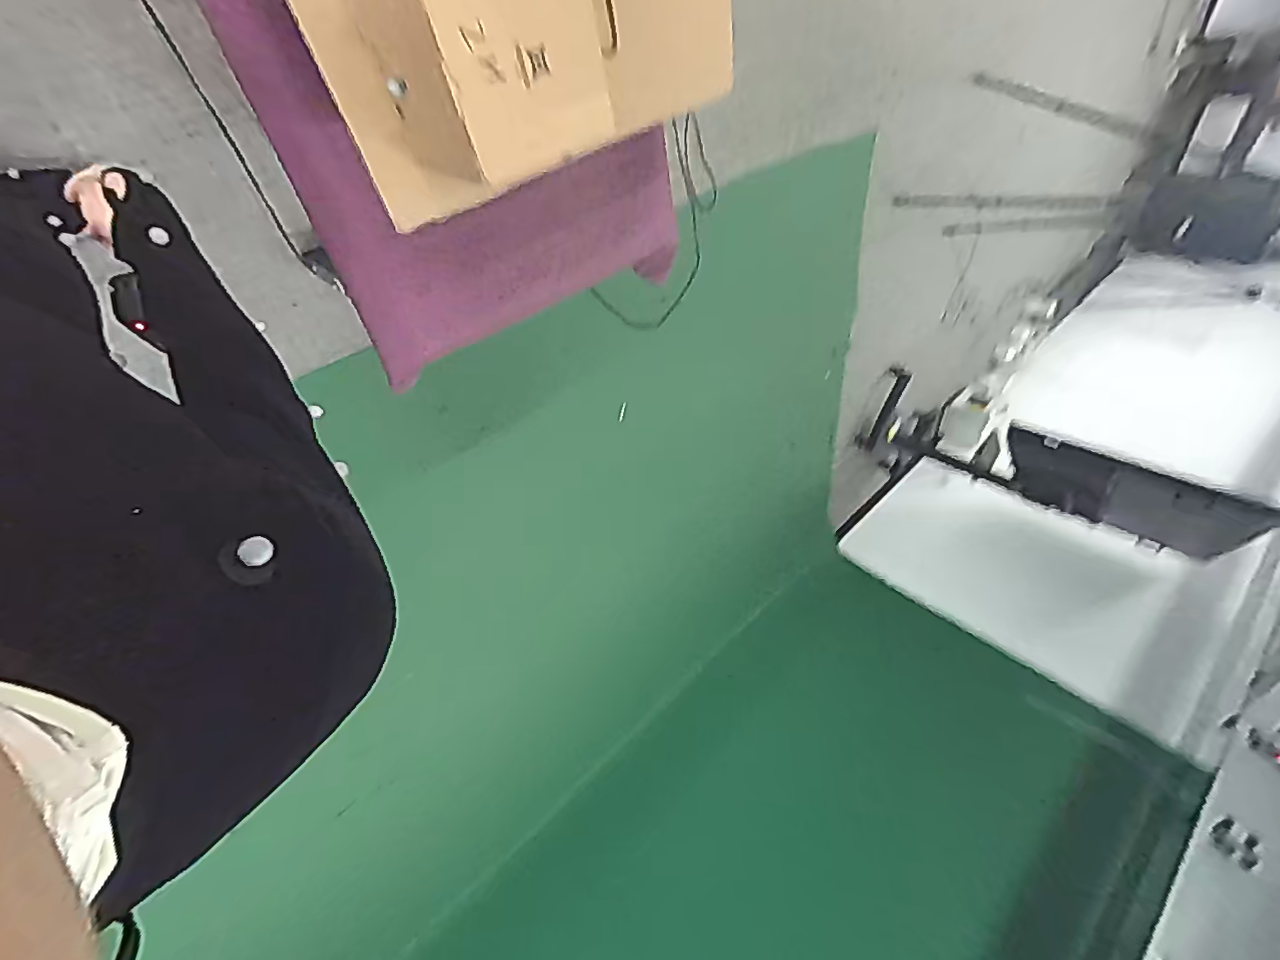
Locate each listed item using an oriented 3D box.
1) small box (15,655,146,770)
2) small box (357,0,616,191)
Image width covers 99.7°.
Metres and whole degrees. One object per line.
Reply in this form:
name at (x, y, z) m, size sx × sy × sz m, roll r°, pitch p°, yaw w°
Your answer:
small box at (-1.417, 0.587, 1.381) m, size 0.168 × 0.176 × 0.179 m, roll -32°, pitch 135°, yaw -27°
small box at (-0.154, -0.428, 0.566) m, size 0.179 × 0.176 × 0.168 m, roll -37°, pitch 139°, yaw -22°
